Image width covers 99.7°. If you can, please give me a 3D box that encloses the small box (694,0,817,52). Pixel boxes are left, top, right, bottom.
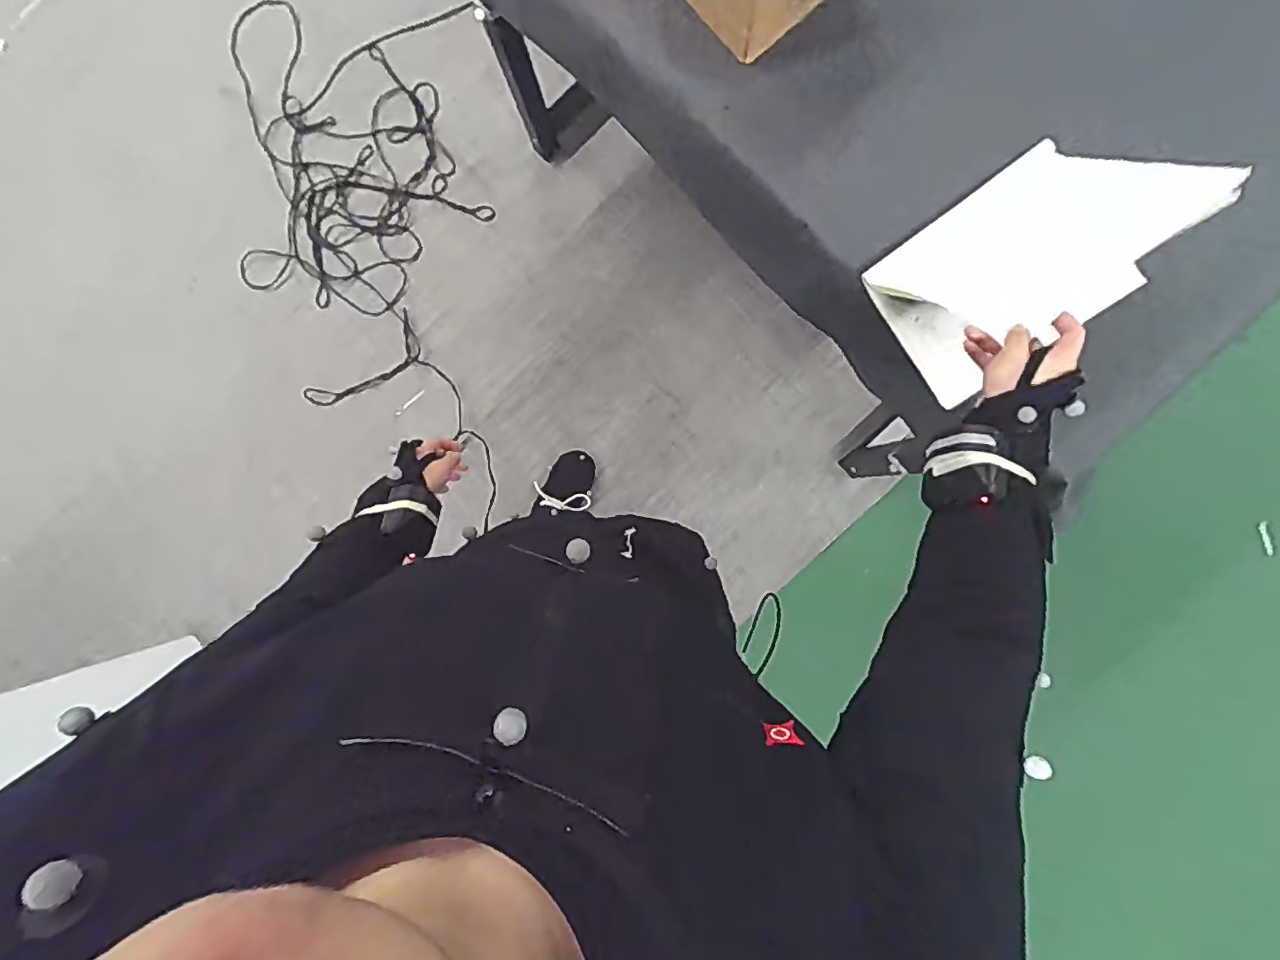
[{"bbox_3d":[0.124,-0.611,0.558,0.168,0.176,0.179,-40,88,1],"label":"small box"}]
